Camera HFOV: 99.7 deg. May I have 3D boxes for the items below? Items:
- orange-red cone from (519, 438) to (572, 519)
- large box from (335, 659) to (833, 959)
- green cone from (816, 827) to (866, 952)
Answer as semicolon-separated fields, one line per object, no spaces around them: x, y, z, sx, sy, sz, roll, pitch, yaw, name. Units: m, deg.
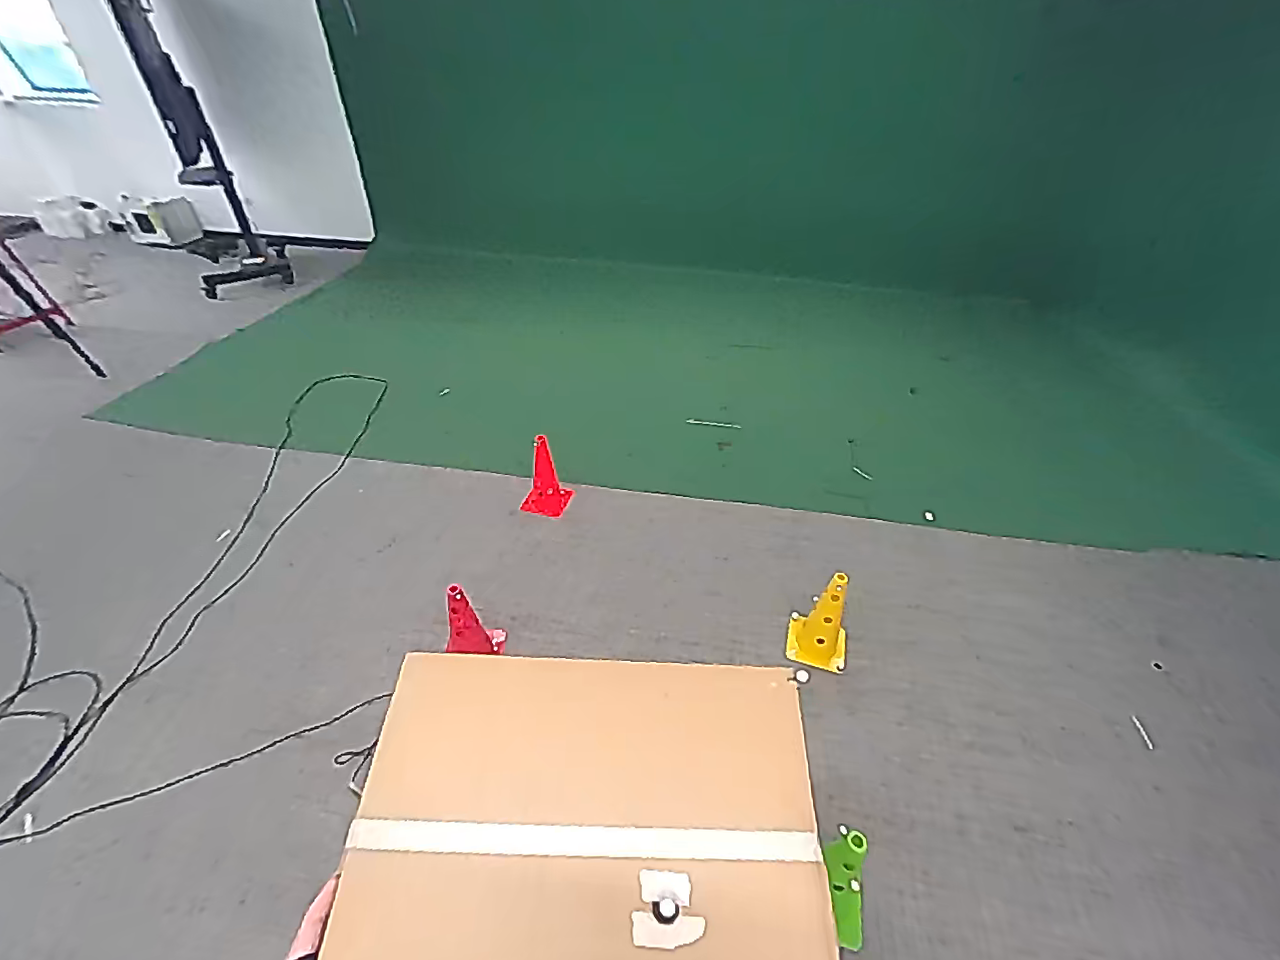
-0.434;-0.029;2.398;0.199;0.360;0.198;11;39;13;orange-red cone
-0.049;0.408;0.596;0.408;0.320;0.320;3;53;-2;large box
0.463;0.914;1.268;0.200;0.368;0.202;11;38;10;green cone
